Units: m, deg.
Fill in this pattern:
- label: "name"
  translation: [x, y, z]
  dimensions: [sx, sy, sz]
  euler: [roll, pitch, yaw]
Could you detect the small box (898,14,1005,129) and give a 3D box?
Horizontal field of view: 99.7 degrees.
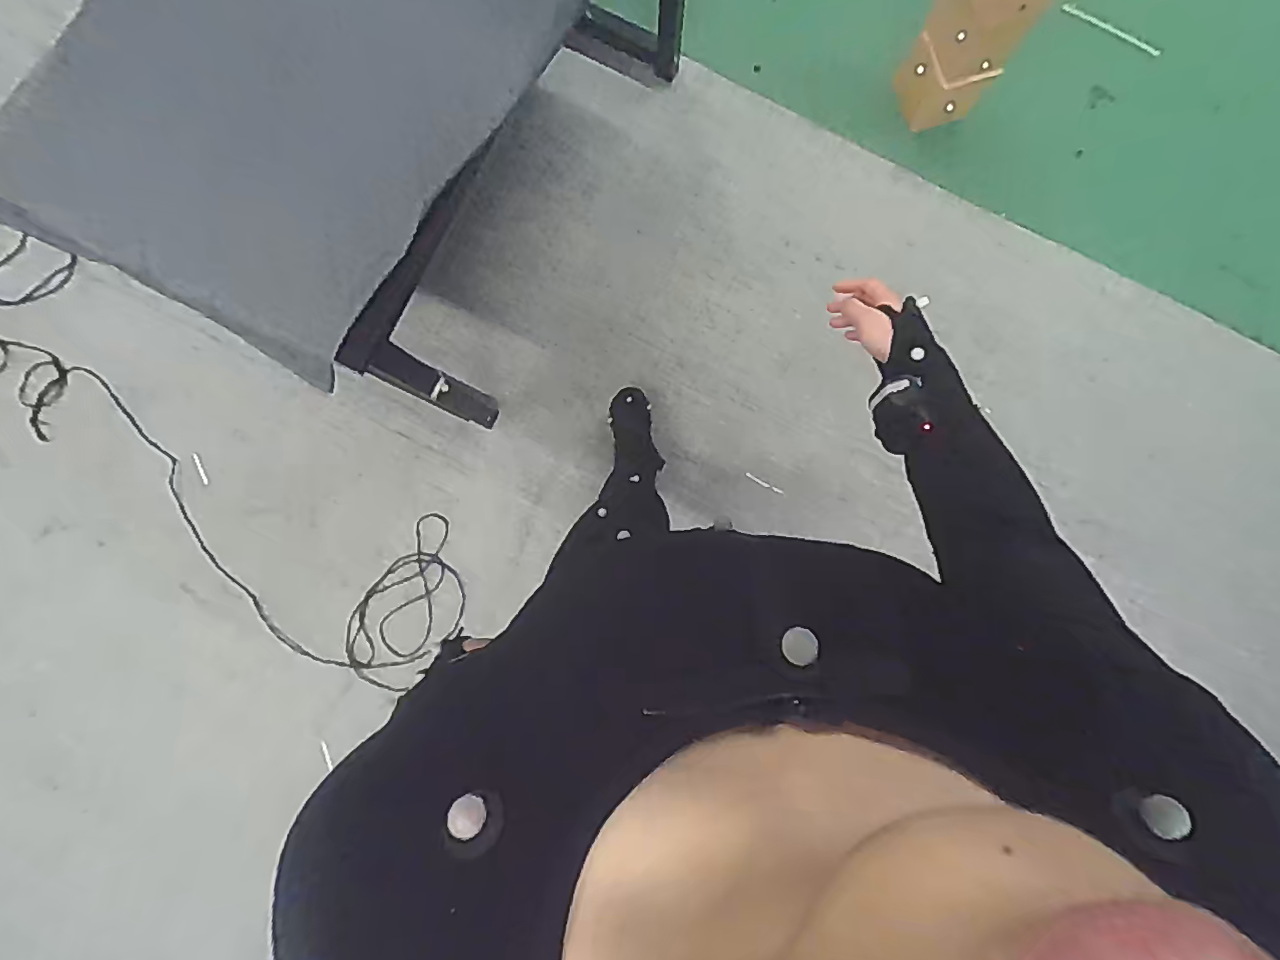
- label: "small box"
  translation: [0.837, -1.094, 1.468]
  dimensions: [0.168, 0.176, 0.179]
  euler: [-17, 86, -1]
